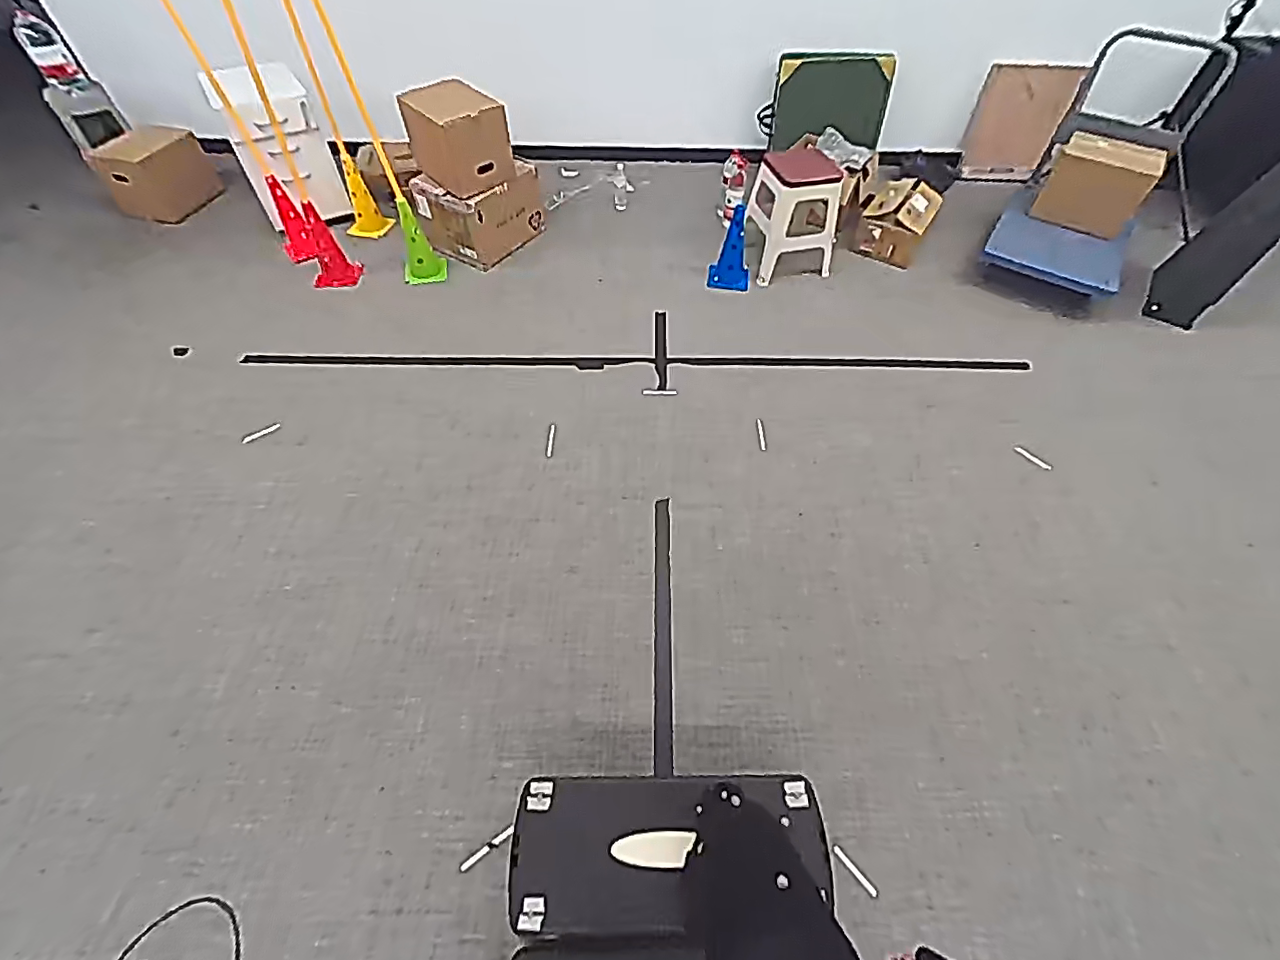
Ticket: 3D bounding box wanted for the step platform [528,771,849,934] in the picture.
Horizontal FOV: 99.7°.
[{"bbox_3d":[0.098,0.819,1.206,0.684,0.204,0.286,0,53,-2],"label":"step platform"}]
